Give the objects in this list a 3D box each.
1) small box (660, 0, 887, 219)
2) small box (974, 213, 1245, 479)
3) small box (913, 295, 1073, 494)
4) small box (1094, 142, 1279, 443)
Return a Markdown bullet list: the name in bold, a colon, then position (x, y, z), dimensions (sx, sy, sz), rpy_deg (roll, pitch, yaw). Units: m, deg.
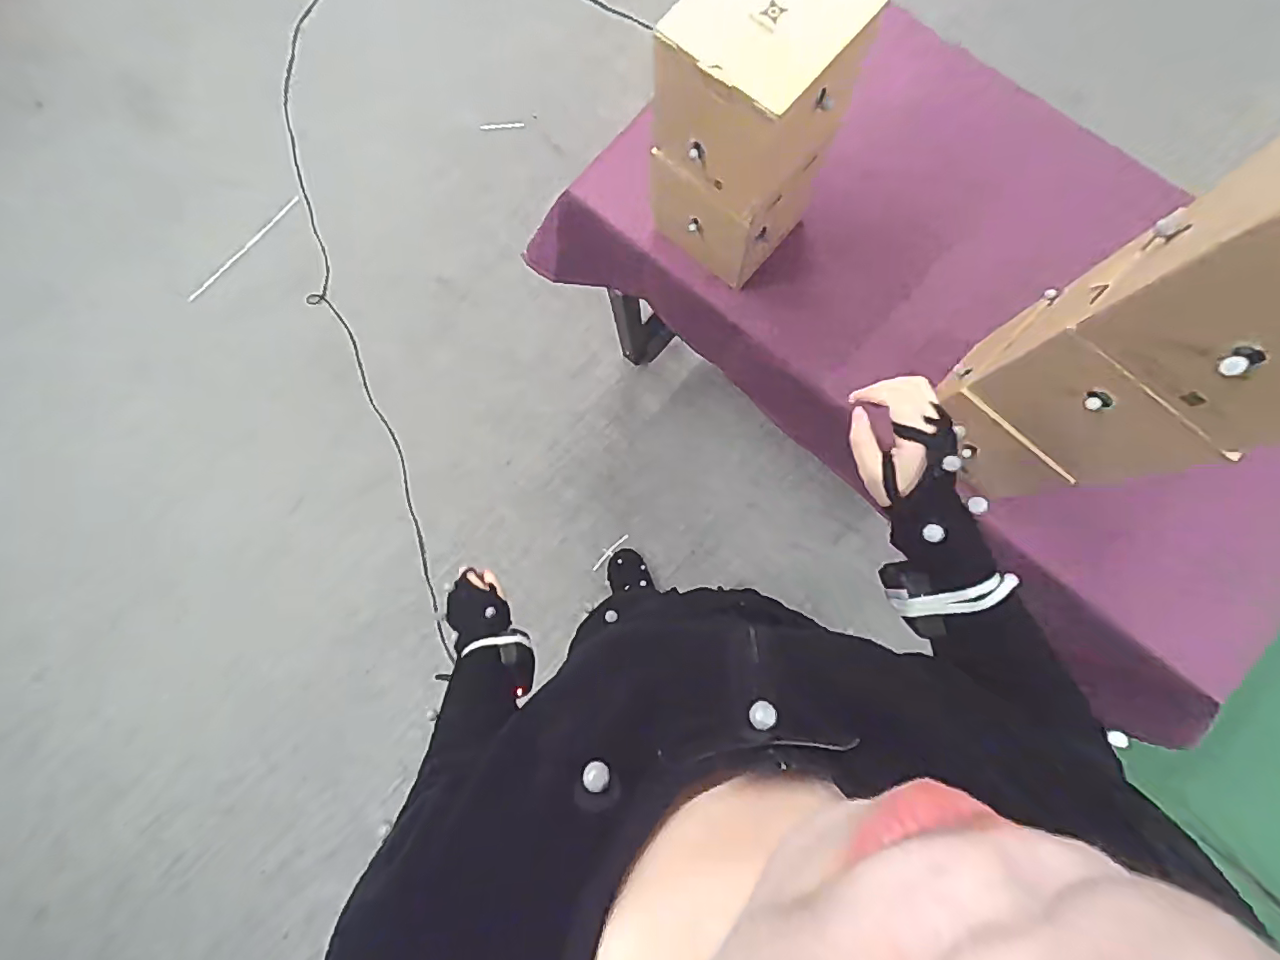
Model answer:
- **small box**: position (0.137, -0.453, 0.624), dimensions (0.168, 0.176, 0.179), rpy_deg (41, 86, 8)
- **small box**: position (0.499, -0.120, 0.557), dimensions (0.168, 0.176, 0.179), rpy_deg (-45, 83, -4)
- **small box**: position (0.500, -0.099, 0.721), dimensions (0.168, 0.176, 0.179), rpy_deg (44, 86, 7)
- **small box**: position (0.496, -0.150, 0.395), dimensions (0.168, 0.176, 0.179), rpy_deg (45, 87, 8)
